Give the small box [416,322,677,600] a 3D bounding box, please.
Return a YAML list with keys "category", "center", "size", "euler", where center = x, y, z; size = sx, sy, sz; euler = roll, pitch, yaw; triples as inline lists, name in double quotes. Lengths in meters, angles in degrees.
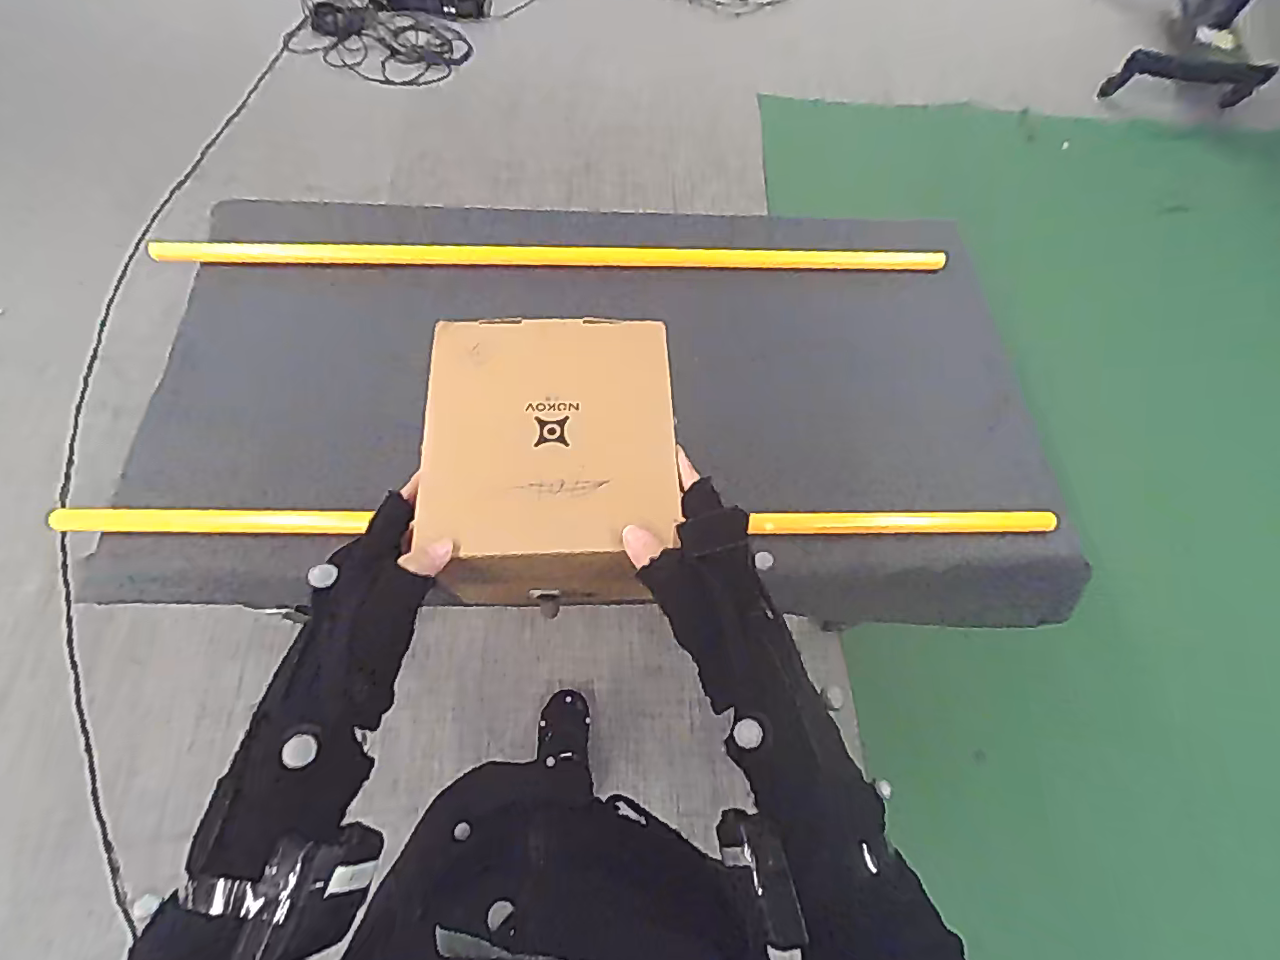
- category: "small box"
  center: [-0.066, -0.006, 0.444]
  size: [0.168, 0.176, 0.179]
  euler: [-1, 67, -4]
